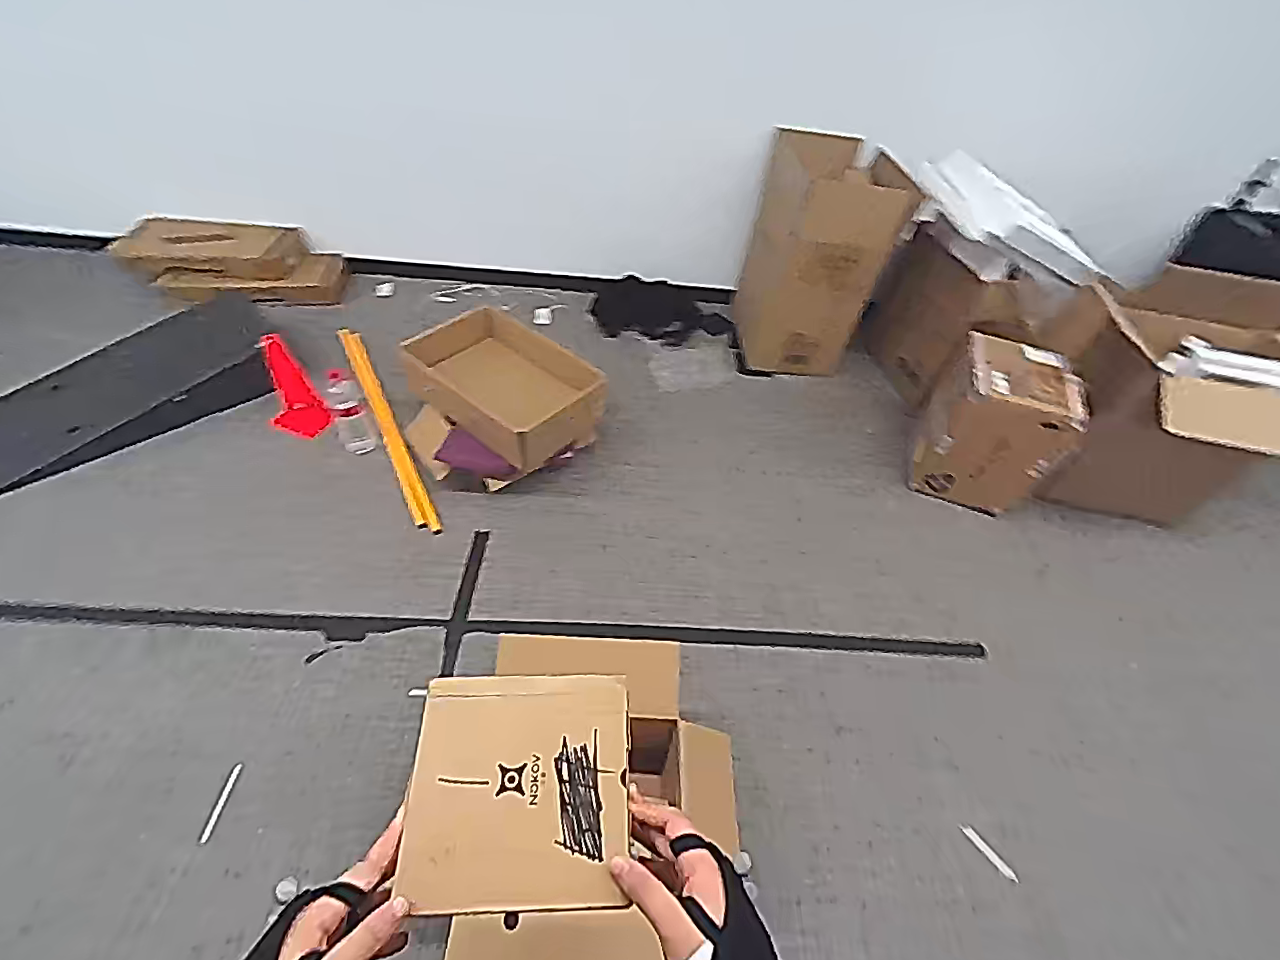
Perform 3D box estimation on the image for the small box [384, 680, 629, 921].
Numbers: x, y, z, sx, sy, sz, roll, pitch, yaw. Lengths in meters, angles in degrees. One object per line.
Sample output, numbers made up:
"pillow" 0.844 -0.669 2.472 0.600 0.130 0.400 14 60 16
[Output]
"small box" -0.103 0.289 0.498 0.179 0.176 0.168 0 55 -4
